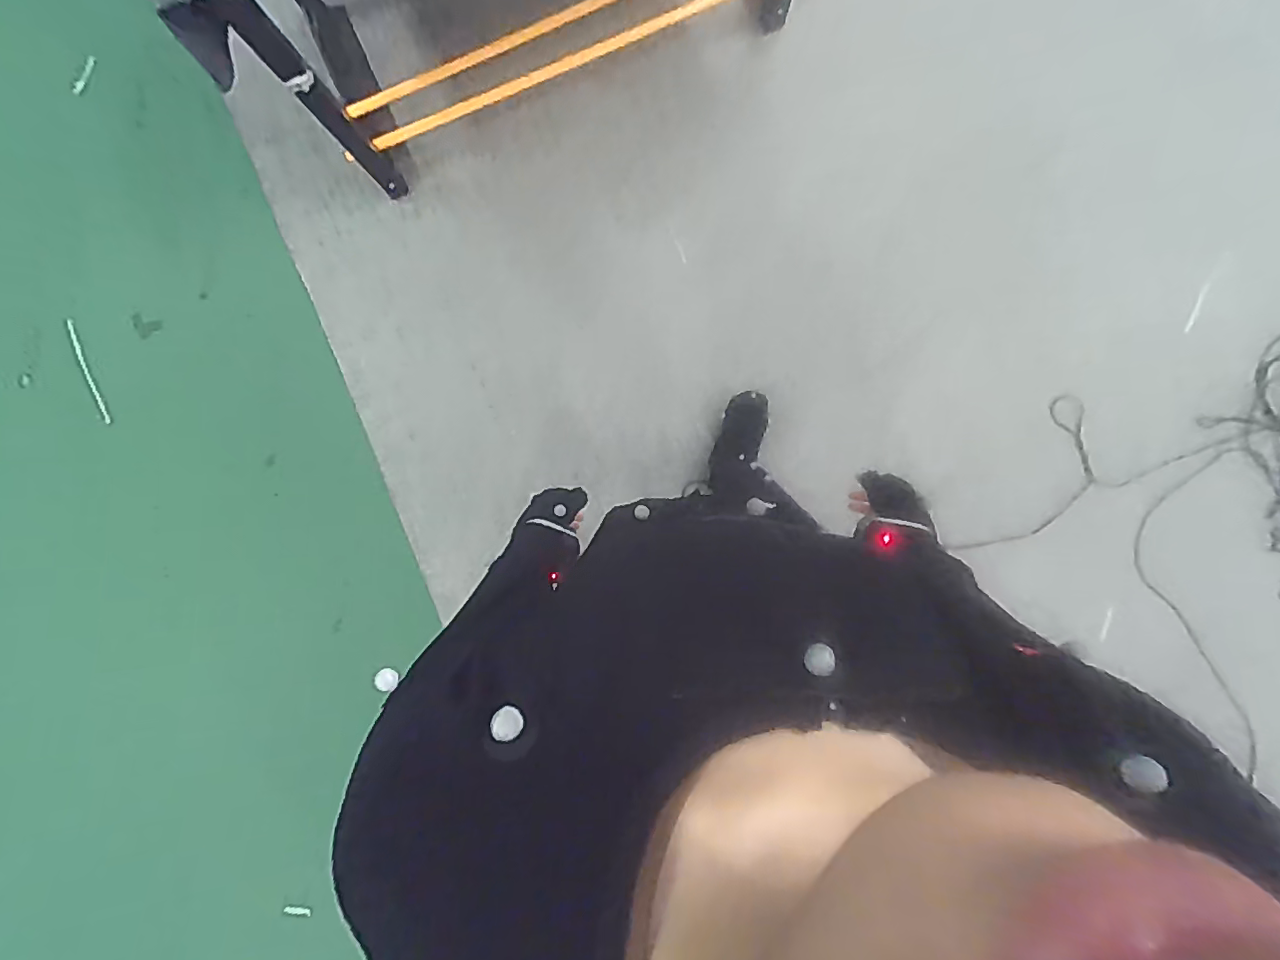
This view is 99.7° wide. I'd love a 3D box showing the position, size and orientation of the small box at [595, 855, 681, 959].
[{"bbox_3d":[-0.004,1.111,1.389,0.168,0.176,0.179,-22,89,2],"label":"small box"}]
